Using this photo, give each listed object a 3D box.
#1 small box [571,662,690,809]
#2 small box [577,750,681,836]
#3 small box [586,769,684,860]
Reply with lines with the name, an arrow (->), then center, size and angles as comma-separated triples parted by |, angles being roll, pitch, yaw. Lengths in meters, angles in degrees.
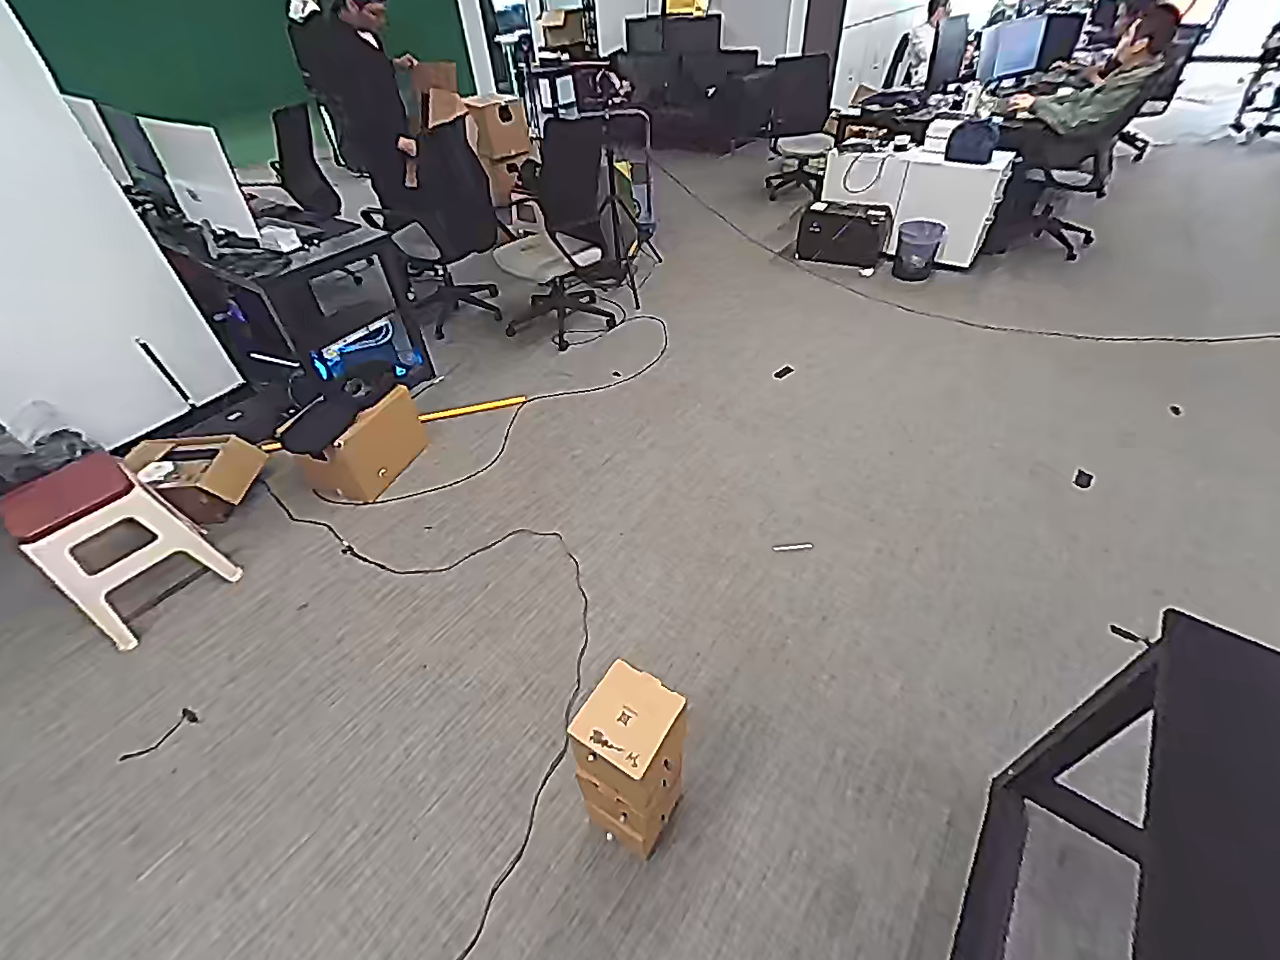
small box -> -0.016, 0.508, 1.079 | 0.168, 0.176, 0.179 | 22, 48, 25
small box -> -0.015, 0.635, 1.185 | 0.168, 0.176, 0.179 | 20, 47, 23
small box -> -0.008, 0.758, 1.291 | 0.168, 0.176, 0.179 | 22, 49, 26
